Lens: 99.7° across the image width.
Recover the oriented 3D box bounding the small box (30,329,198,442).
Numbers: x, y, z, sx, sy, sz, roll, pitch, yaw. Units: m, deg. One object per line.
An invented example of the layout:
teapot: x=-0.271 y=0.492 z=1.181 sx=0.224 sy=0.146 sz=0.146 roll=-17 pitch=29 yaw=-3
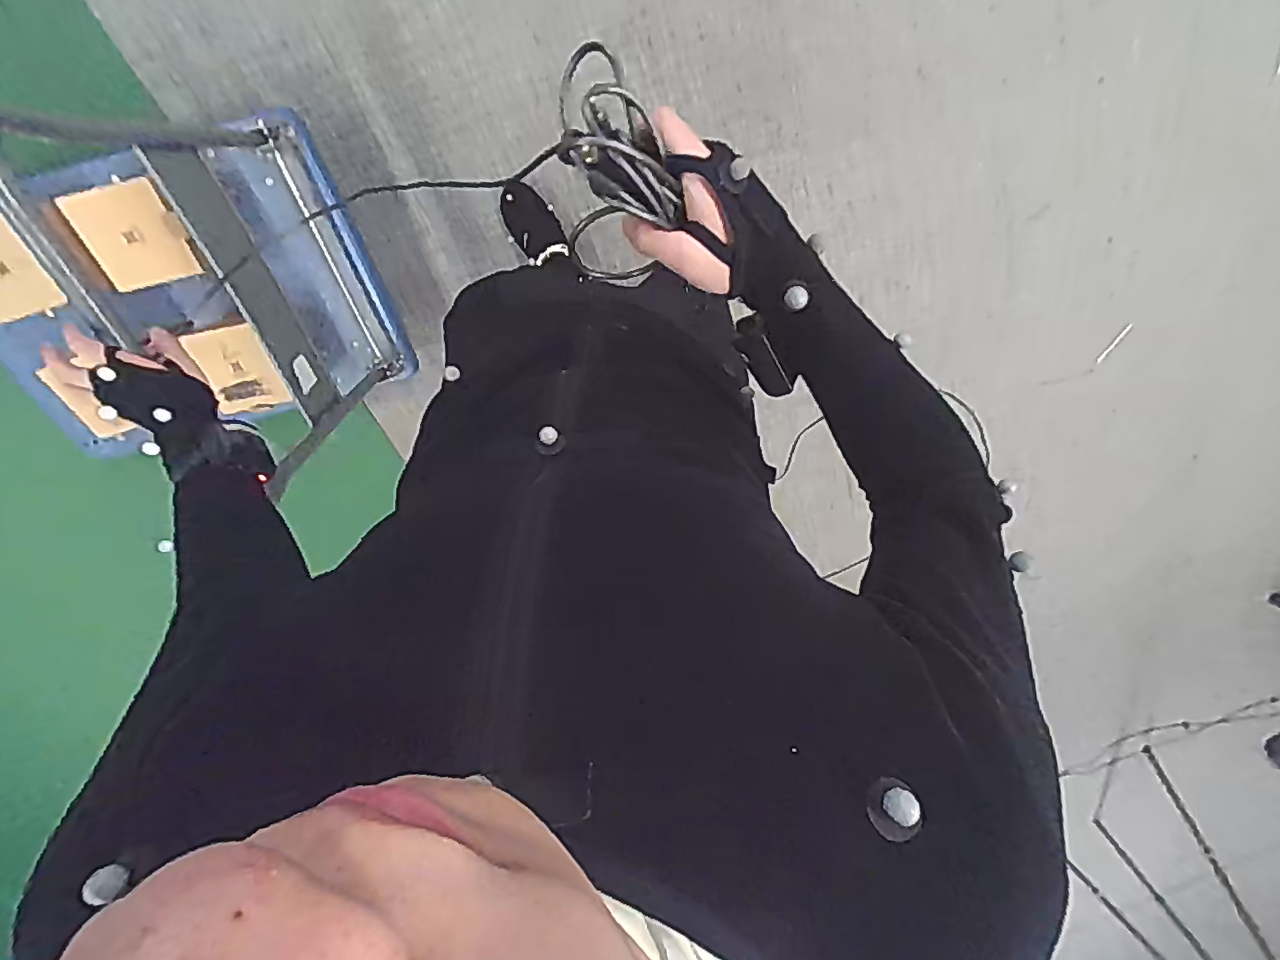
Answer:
small box: x=-1.129 y=-0.213 z=1.187 sx=0.179 sy=0.176 sz=0.168 roll=-17 pitch=122 yaw=4

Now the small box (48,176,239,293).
small box: x=-0.942 y=-0.479 z=1.049 sx=0.179 sy=0.176 sz=0.168 roll=-14 pitch=122 yaw=0

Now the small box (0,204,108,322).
small box: x=-1.193 y=-0.421 z=1.050 sx=0.179 sy=0.176 sz=0.168 roll=-16 pitch=123 yaw=2
